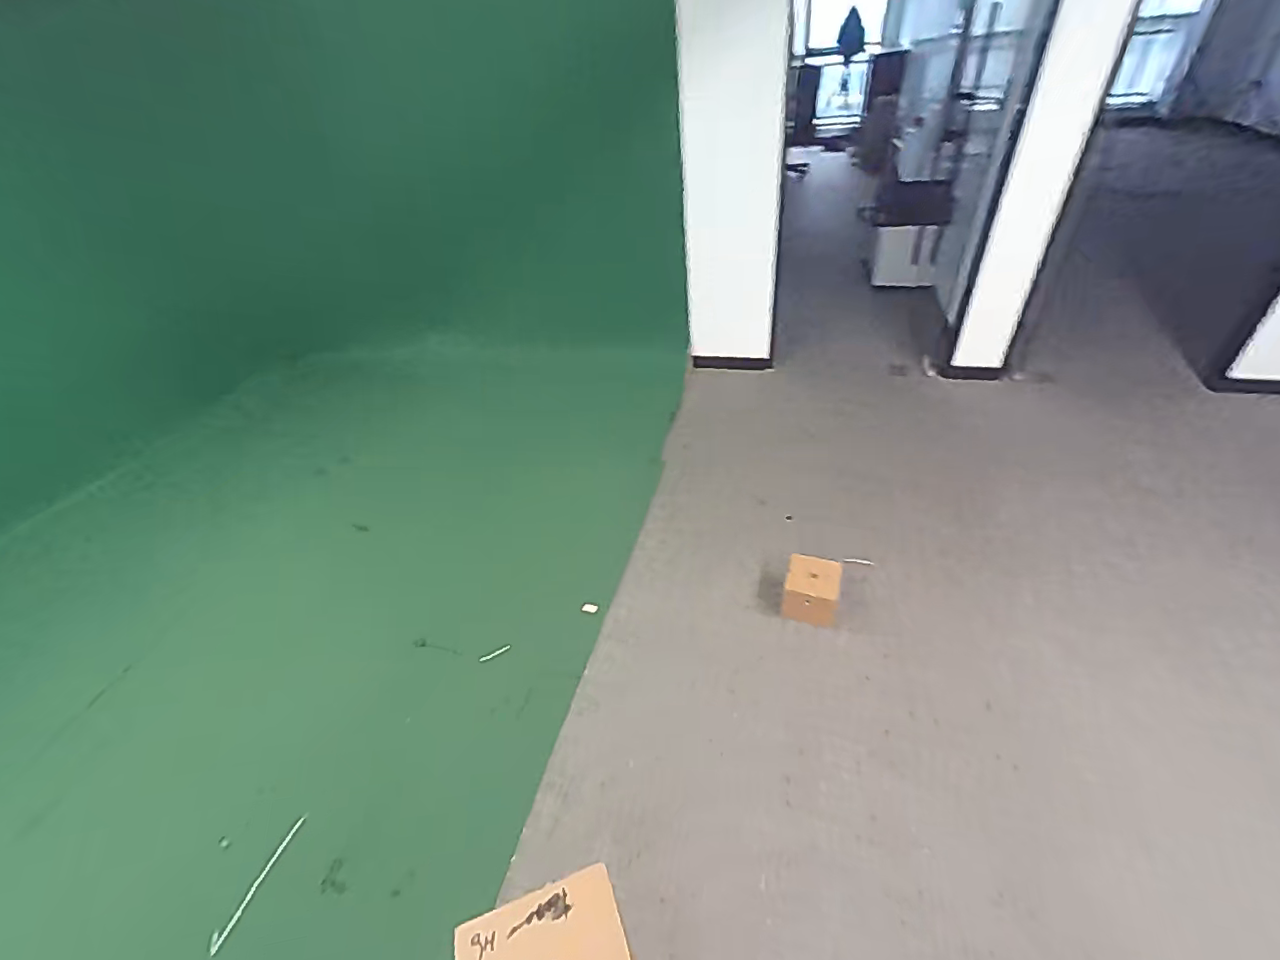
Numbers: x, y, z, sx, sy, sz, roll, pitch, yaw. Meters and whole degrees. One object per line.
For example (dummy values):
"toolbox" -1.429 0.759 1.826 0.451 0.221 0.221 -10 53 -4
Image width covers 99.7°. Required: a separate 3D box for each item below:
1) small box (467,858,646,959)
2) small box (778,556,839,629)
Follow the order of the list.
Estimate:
"small box" -0.069 0.544 0.557 0.168 0.176 0.179 -15 36 -12
"small box" 0.589 0.397 1.896 0.179 0.176 0.168 10 44 19
